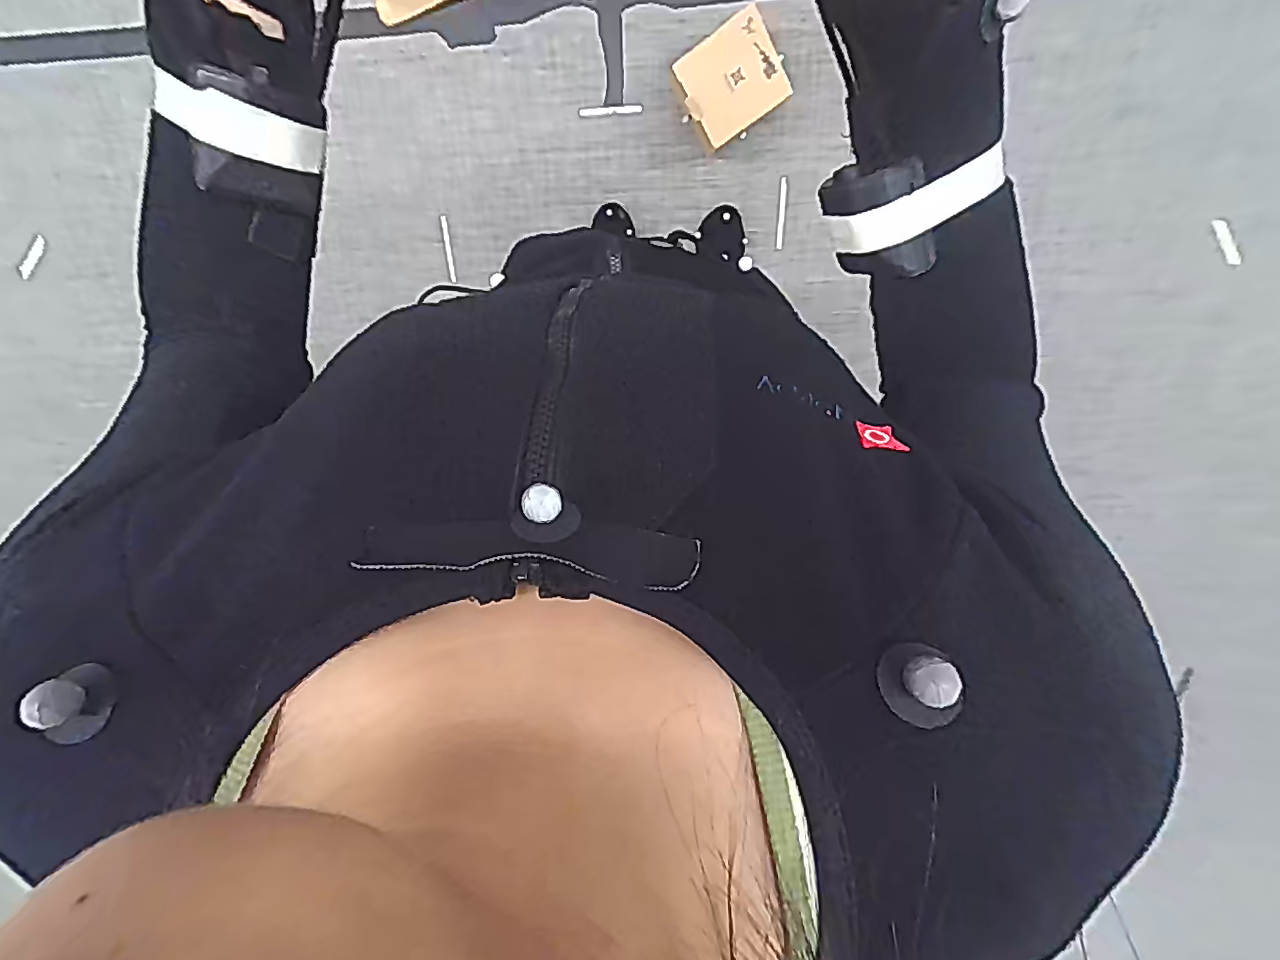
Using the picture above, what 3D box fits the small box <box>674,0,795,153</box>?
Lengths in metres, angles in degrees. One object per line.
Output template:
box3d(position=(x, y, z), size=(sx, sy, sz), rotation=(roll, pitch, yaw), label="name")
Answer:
box3d(position=(0.185, -0.793, 1.089), size=(0.179, 0.176, 0.168), rotation=(-31, 110, 17), label="small box")
